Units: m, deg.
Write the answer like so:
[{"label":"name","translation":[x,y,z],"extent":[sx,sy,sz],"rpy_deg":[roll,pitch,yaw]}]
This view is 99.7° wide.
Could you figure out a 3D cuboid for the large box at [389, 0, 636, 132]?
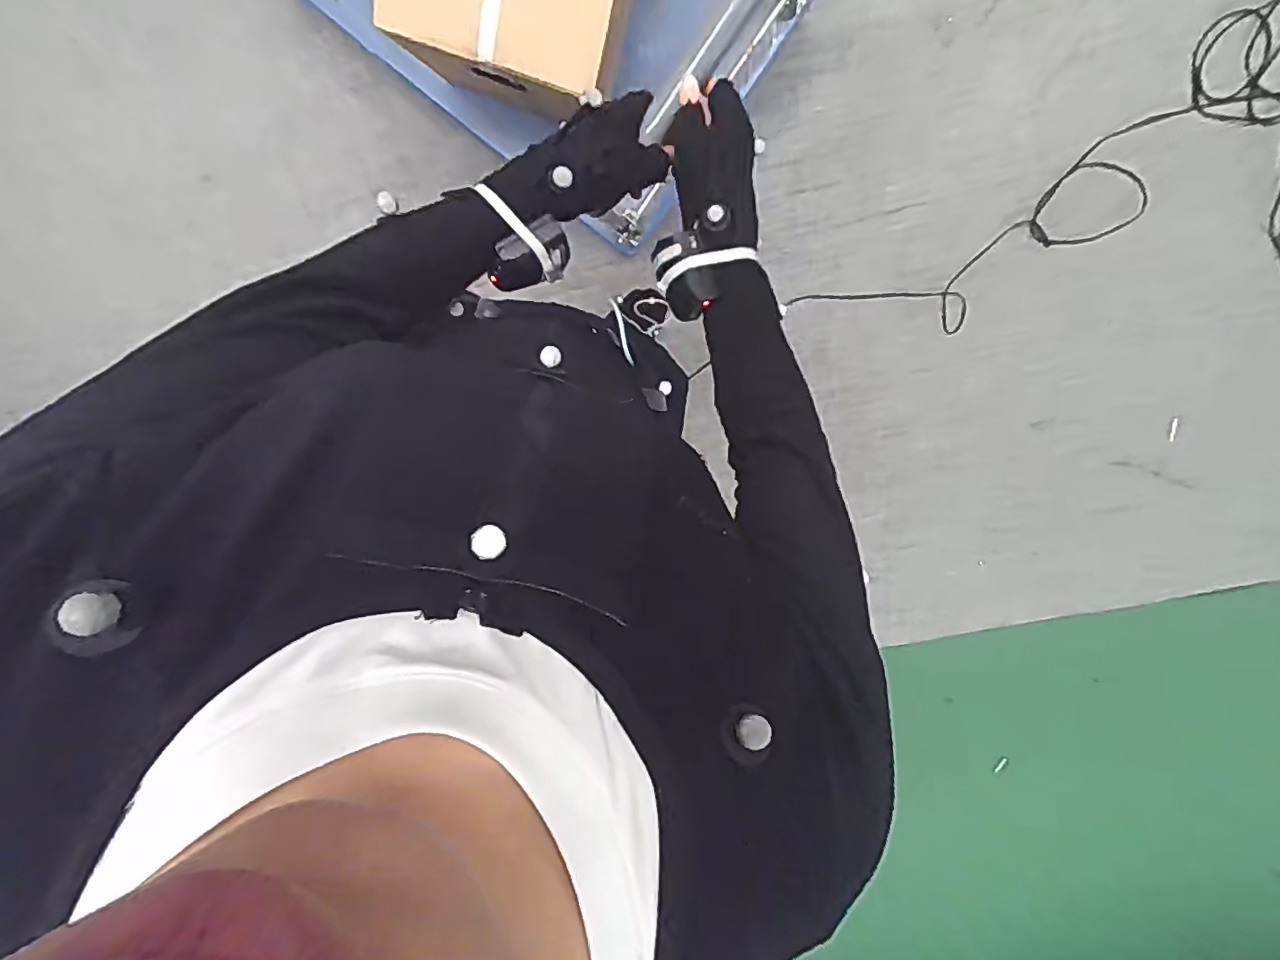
[{"label":"large box","translation":[-0.153,-0.820,0.821],"extent":[0.320,0.320,0.408],"rpy_deg":[15,115,-7]}]
